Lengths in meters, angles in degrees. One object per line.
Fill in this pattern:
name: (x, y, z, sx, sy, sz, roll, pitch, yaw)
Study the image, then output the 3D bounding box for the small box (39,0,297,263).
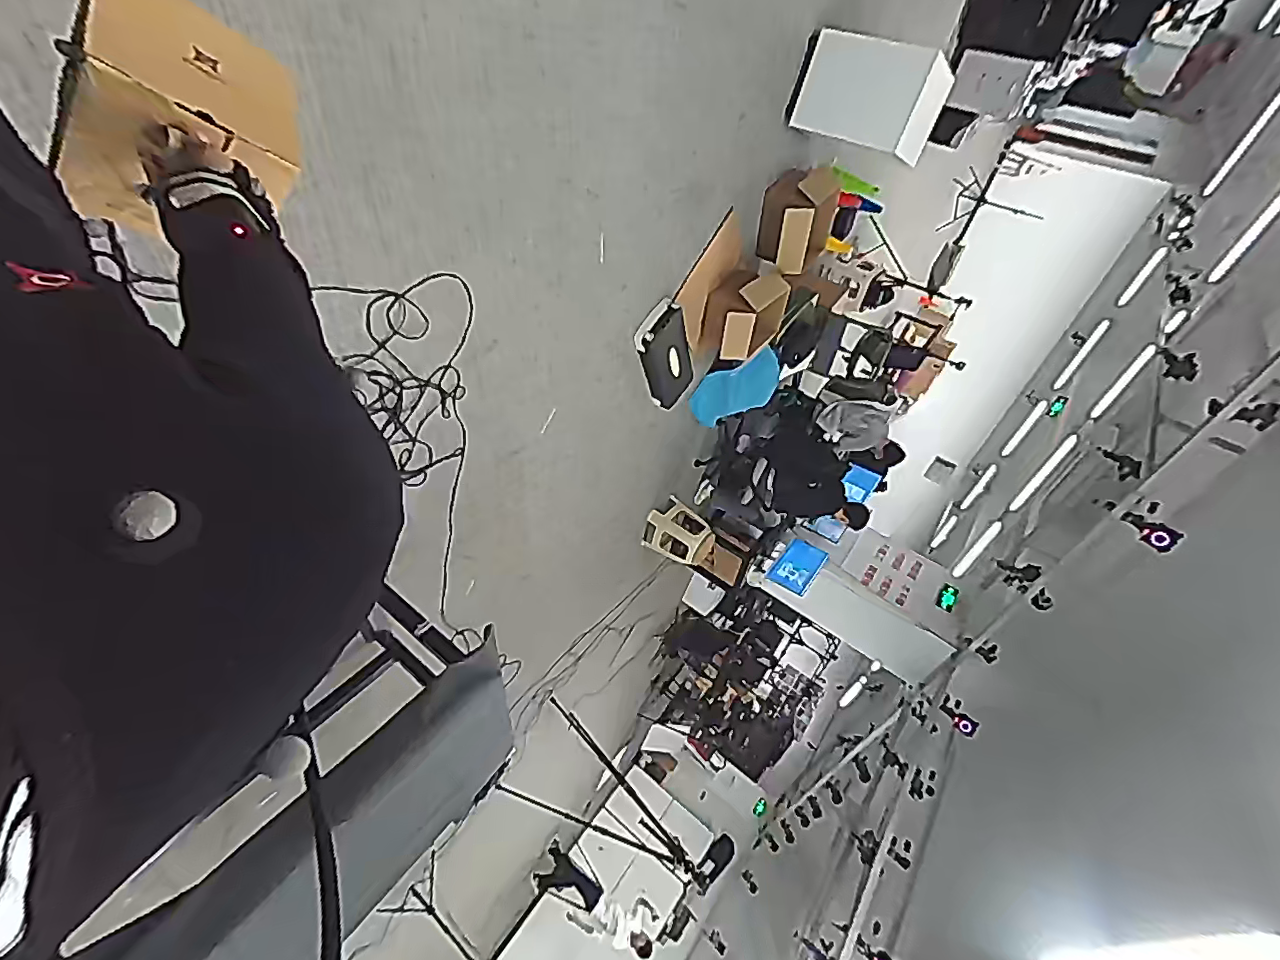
small box: (-0.494, -0.374, 0.571, 0.176, 0.179, 0.168, -31, 156, 29)
